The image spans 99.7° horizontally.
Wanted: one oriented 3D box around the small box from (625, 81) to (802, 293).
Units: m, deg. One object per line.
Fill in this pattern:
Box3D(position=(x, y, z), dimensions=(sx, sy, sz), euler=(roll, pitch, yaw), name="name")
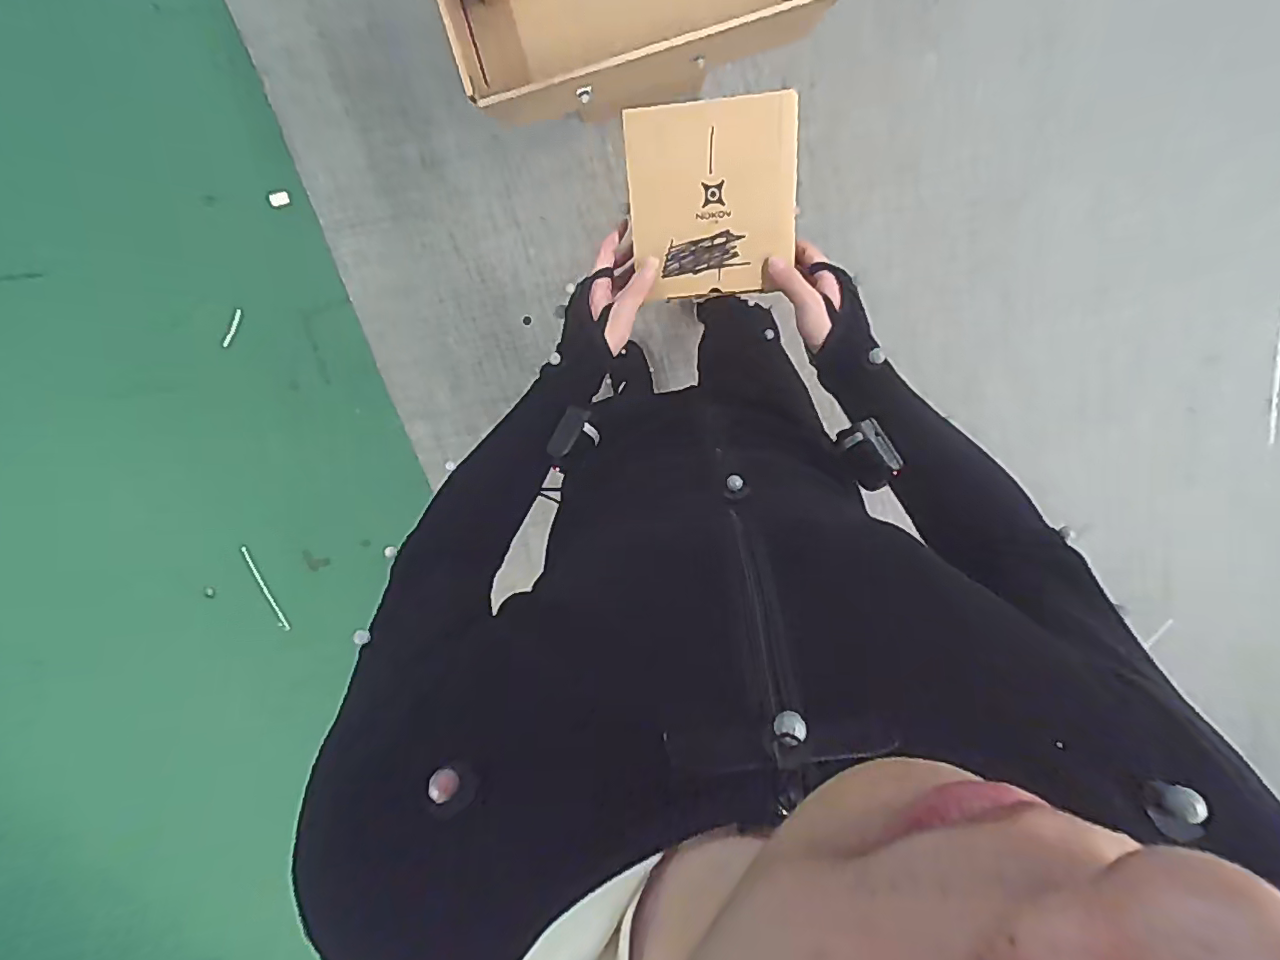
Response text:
Box3D(position=(0.076, -0.313, 0.604), dimensions=(0.168, 0.176, 0.179), euler=(-4, 113, 3), name="small box")
